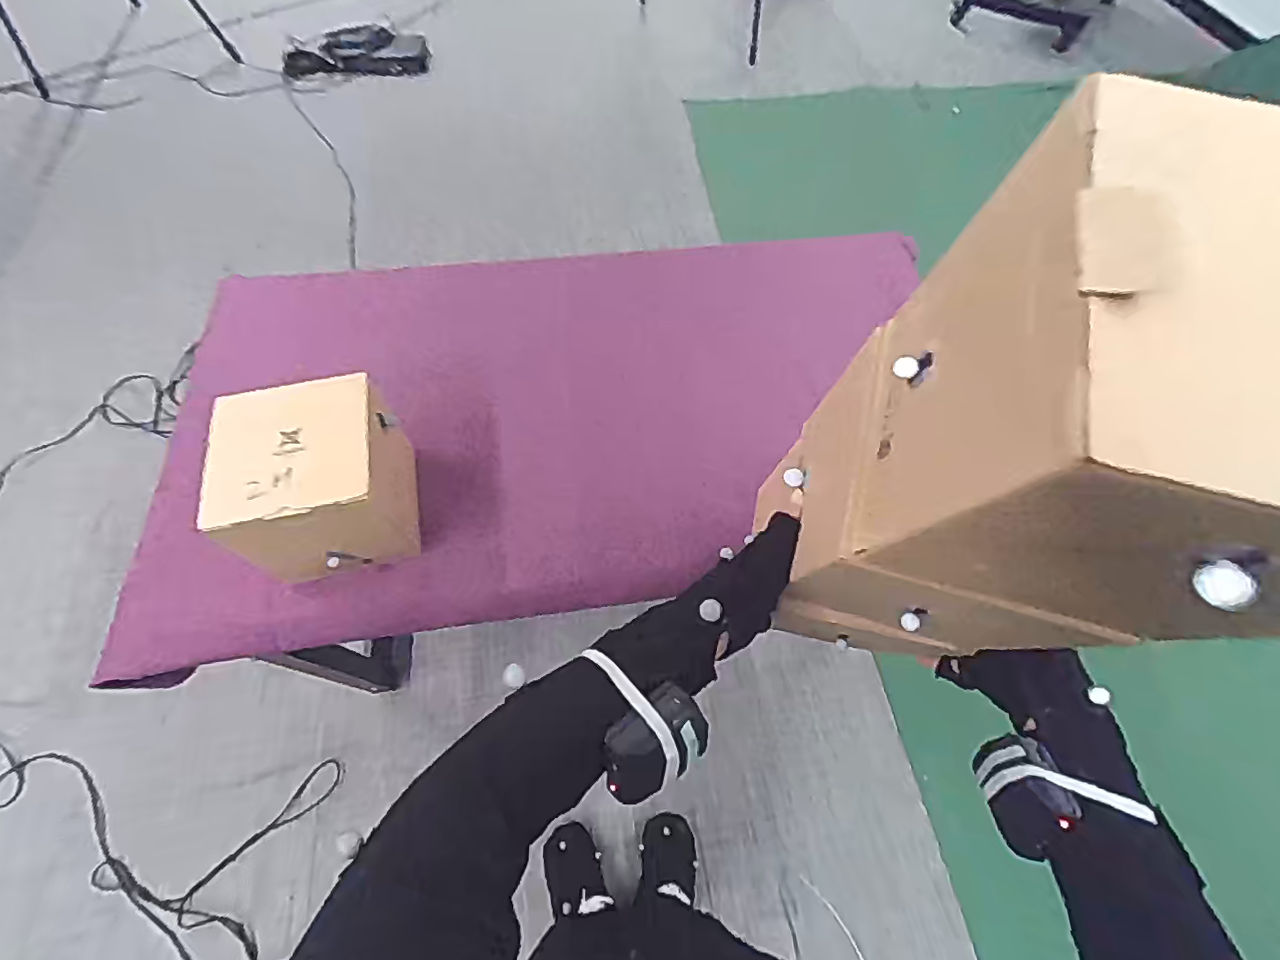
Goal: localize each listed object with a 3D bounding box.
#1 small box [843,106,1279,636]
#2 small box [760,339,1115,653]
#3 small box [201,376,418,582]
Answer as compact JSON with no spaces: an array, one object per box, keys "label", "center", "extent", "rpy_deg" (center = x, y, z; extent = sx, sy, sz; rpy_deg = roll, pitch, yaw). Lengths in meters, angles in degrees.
[{"label":"small box","center":[0.225,-0.027,0.263],"extent":[0.179,0.176,0.168],"rpy_deg":[15,72,4]},{"label":"small box","center":[0.210,0.025,0.415],"extent":[0.179,0.176,0.168],"rpy_deg":[16,71,4]},{"label":"small box","center":[-0.382,0.003,0.661],"extent":[0.168,0.176,0.179],"rpy_deg":[-11,62,-9]}]
